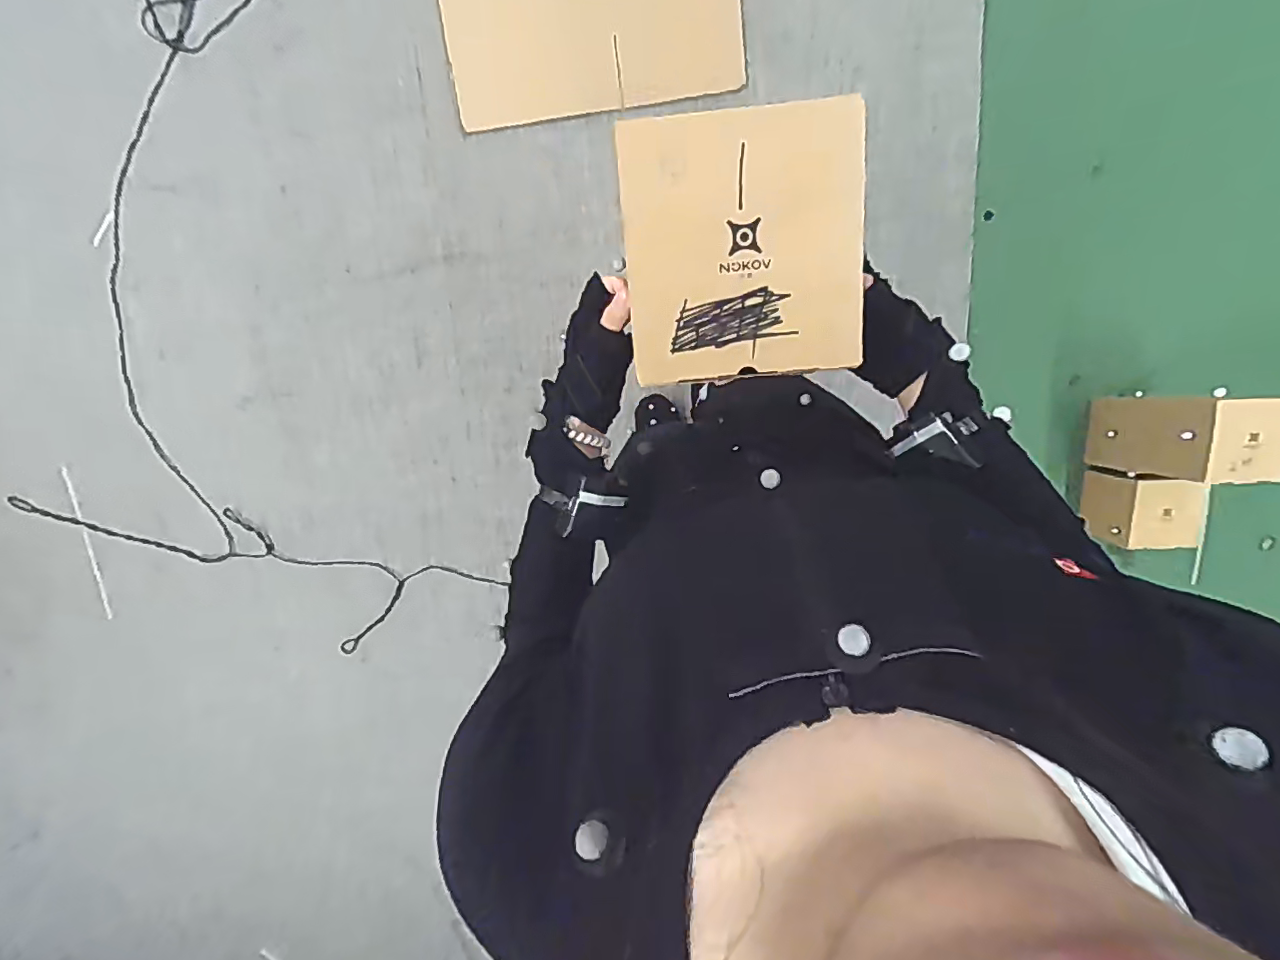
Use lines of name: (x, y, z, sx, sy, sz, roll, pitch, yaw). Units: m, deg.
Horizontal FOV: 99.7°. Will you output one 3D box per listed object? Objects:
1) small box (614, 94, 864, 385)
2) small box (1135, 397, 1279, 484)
small box: (0.074, -0.183, 0.453, 0.168, 0.176, 0.179, -5, 105, 3)
small box: (1.242, -0.092, 1.183, 0.168, 0.176, 0.179, -1, 101, 2)
